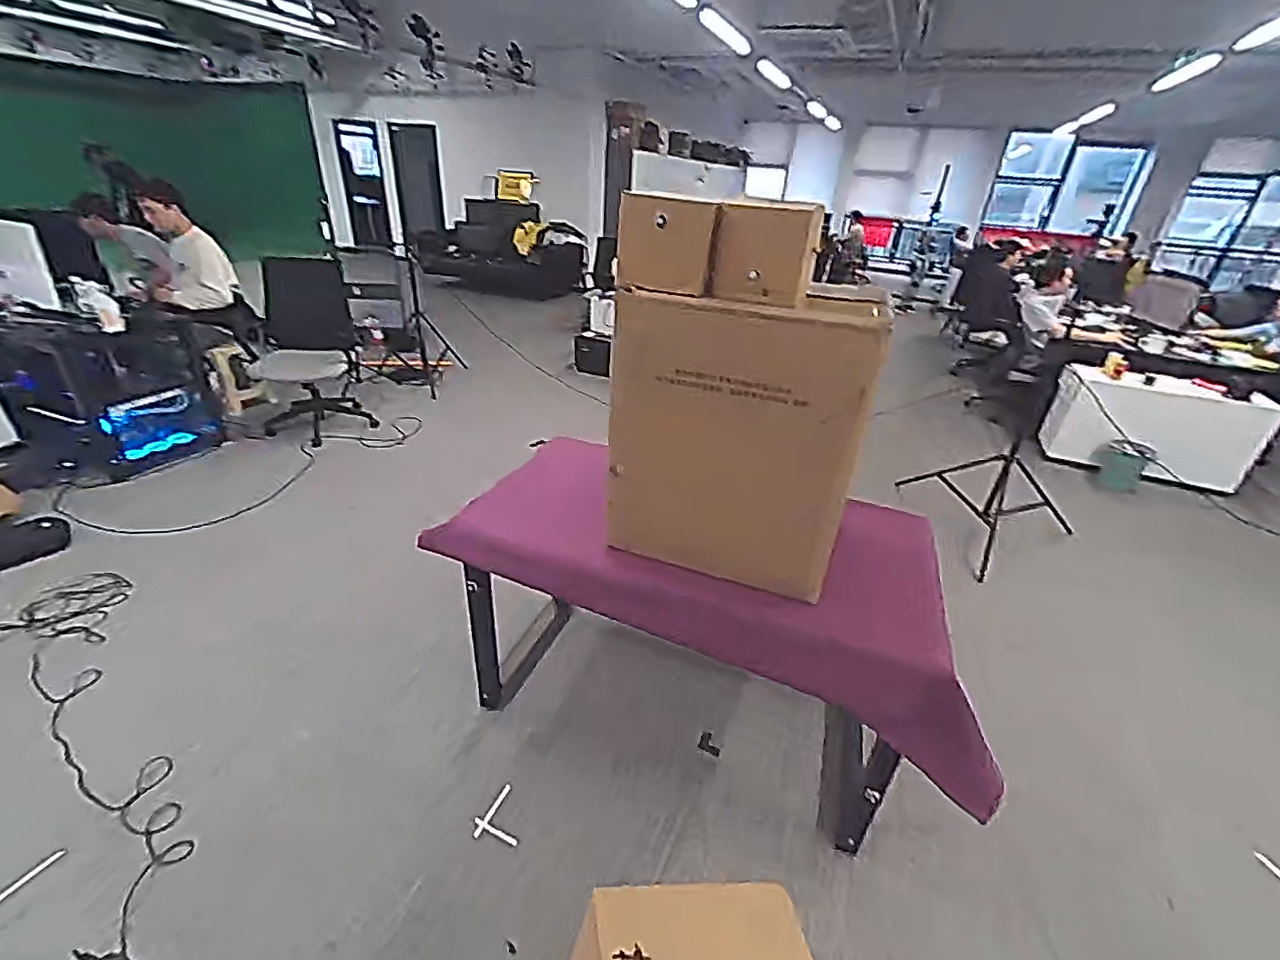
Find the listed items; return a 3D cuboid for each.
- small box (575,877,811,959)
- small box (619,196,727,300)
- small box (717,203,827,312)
[{"bbox_3d":[0.036,0.442,0.406,0.179,0.176,0.168,12,16,-15],"label":"small box"},{"bbox_3d":[0.067,-0.466,1.082,0.179,0.176,0.168,15,31,14],"label":"small box"},{"bbox_3d":[0.257,-0.443,1.065,0.168,0.176,0.179,14,33,19],"label":"small box"}]
